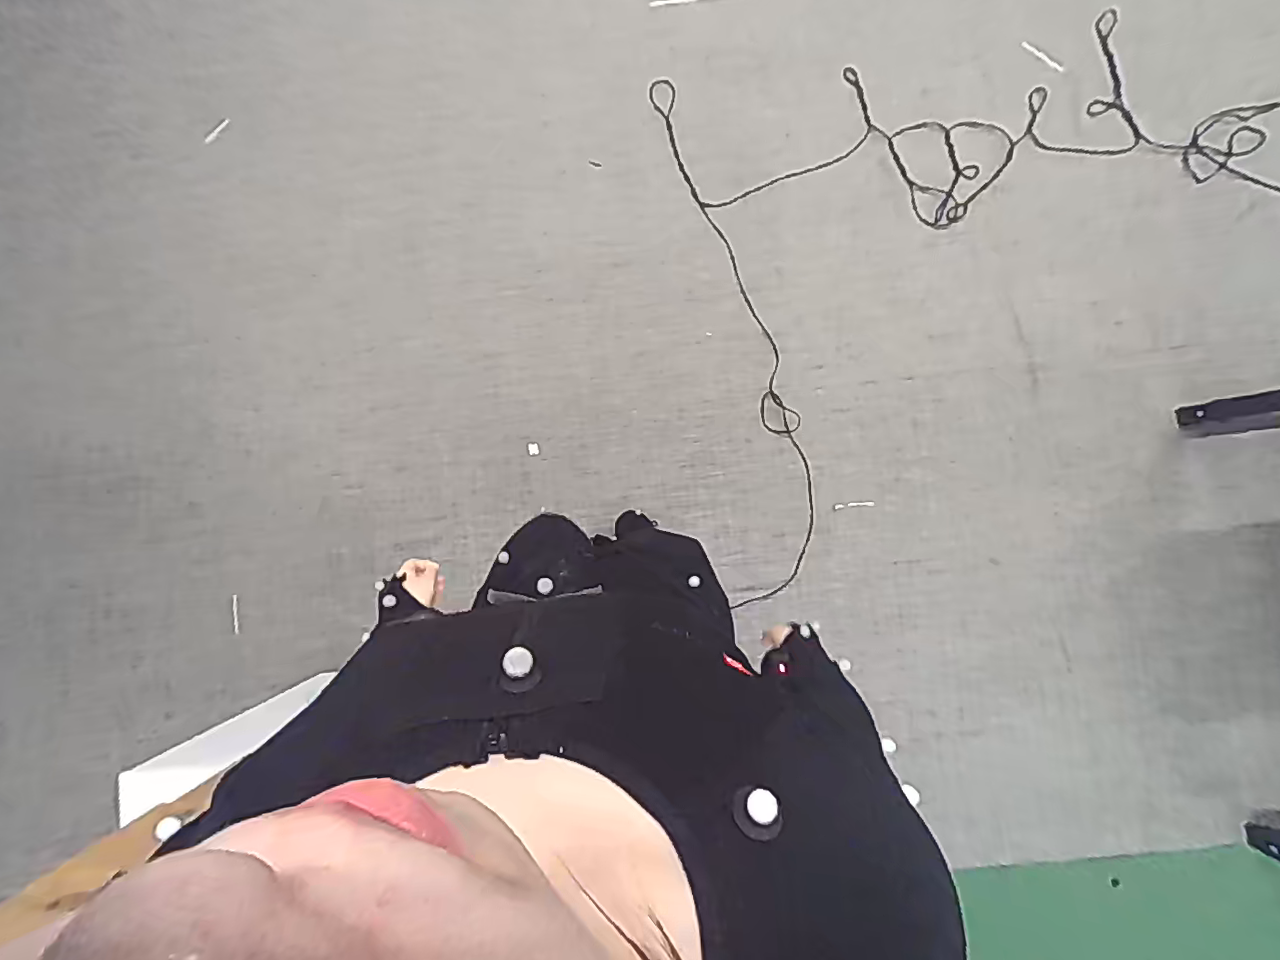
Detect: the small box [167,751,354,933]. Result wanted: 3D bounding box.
[{"bbox_3d":[-0.564,0.533,0.824,0.168,0.176,0.179,-5,89,2],"label":"small box"}]
